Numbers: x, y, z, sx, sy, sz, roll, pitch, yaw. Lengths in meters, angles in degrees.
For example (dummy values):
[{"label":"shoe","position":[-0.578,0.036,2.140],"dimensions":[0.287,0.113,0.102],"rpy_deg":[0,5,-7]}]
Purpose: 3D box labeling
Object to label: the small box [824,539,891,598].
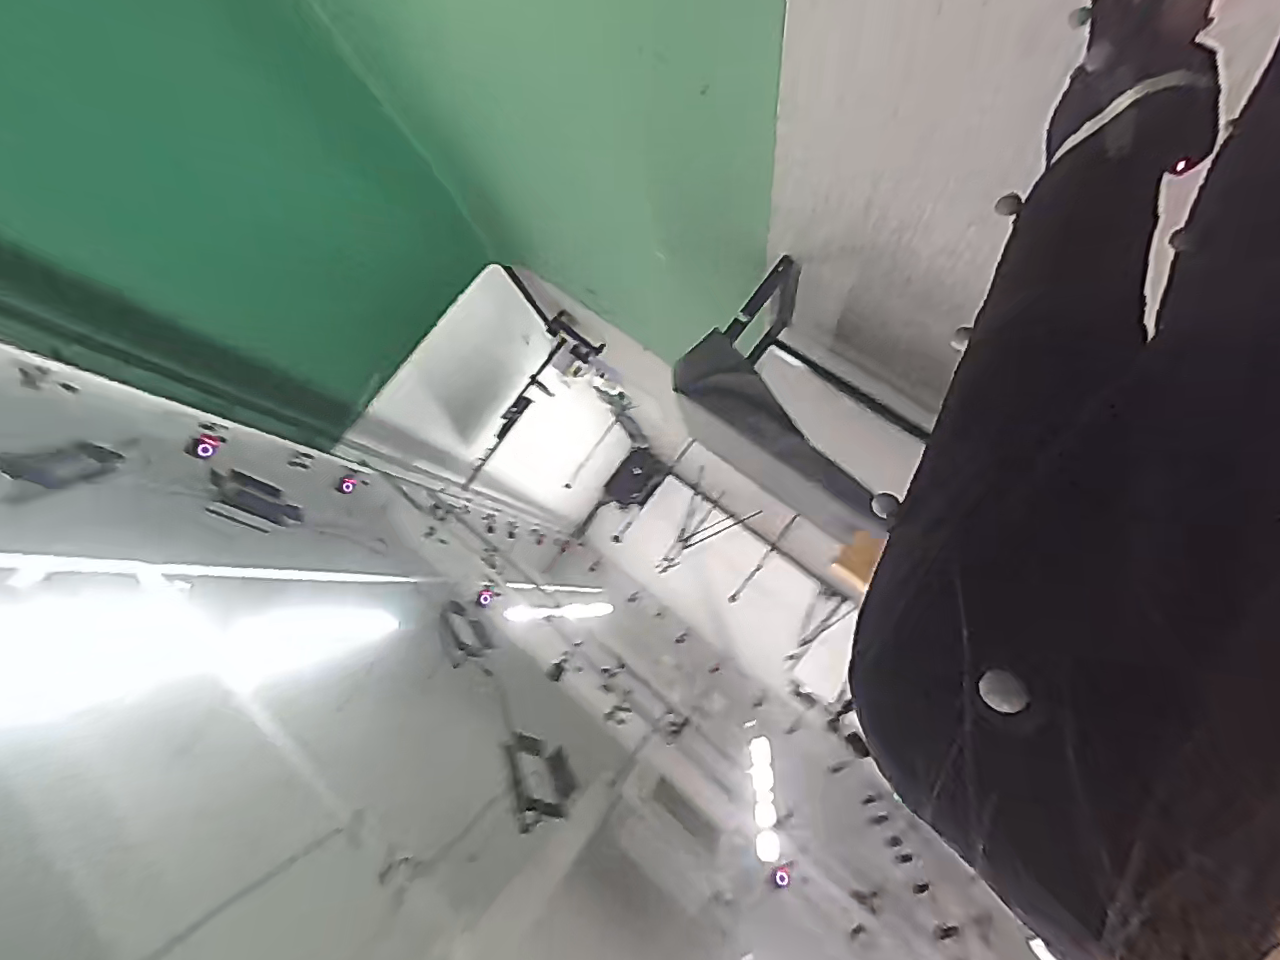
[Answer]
[{"label":"small box","position":[0.852,0.345,2.121],"dimensions":[0.168,0.176,0.179],"rpy_deg":[38,177,17]}]
